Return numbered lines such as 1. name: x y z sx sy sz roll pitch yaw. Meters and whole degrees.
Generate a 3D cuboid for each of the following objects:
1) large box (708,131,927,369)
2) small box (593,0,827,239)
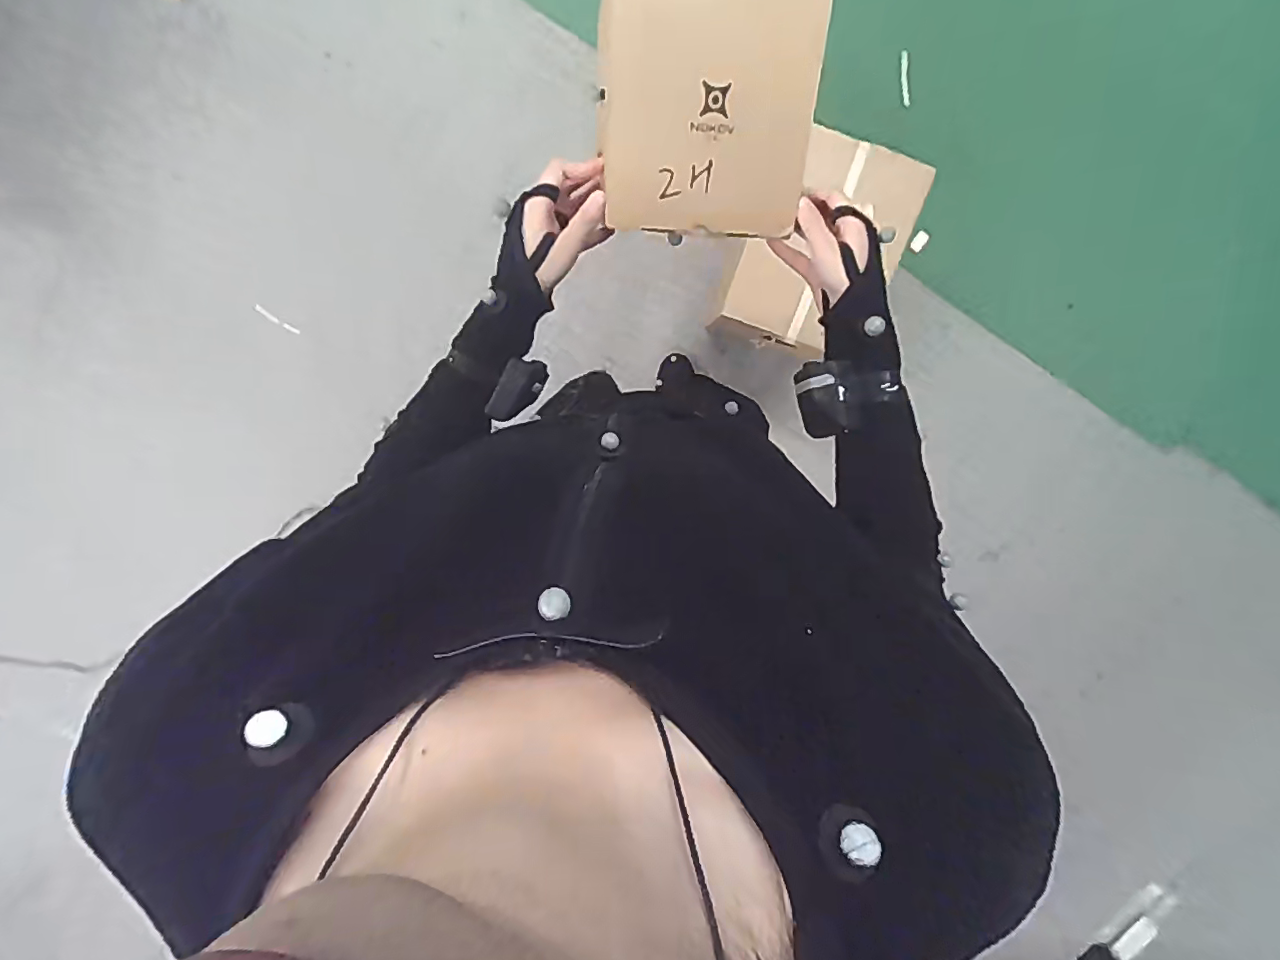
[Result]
1. large box: 0.376 -0.498 1.256 0.320 0.320 0.408 19 100 -3
2. small box: 0.043 -0.323 0.492 0.168 0.176 0.179 -1 118 -8
